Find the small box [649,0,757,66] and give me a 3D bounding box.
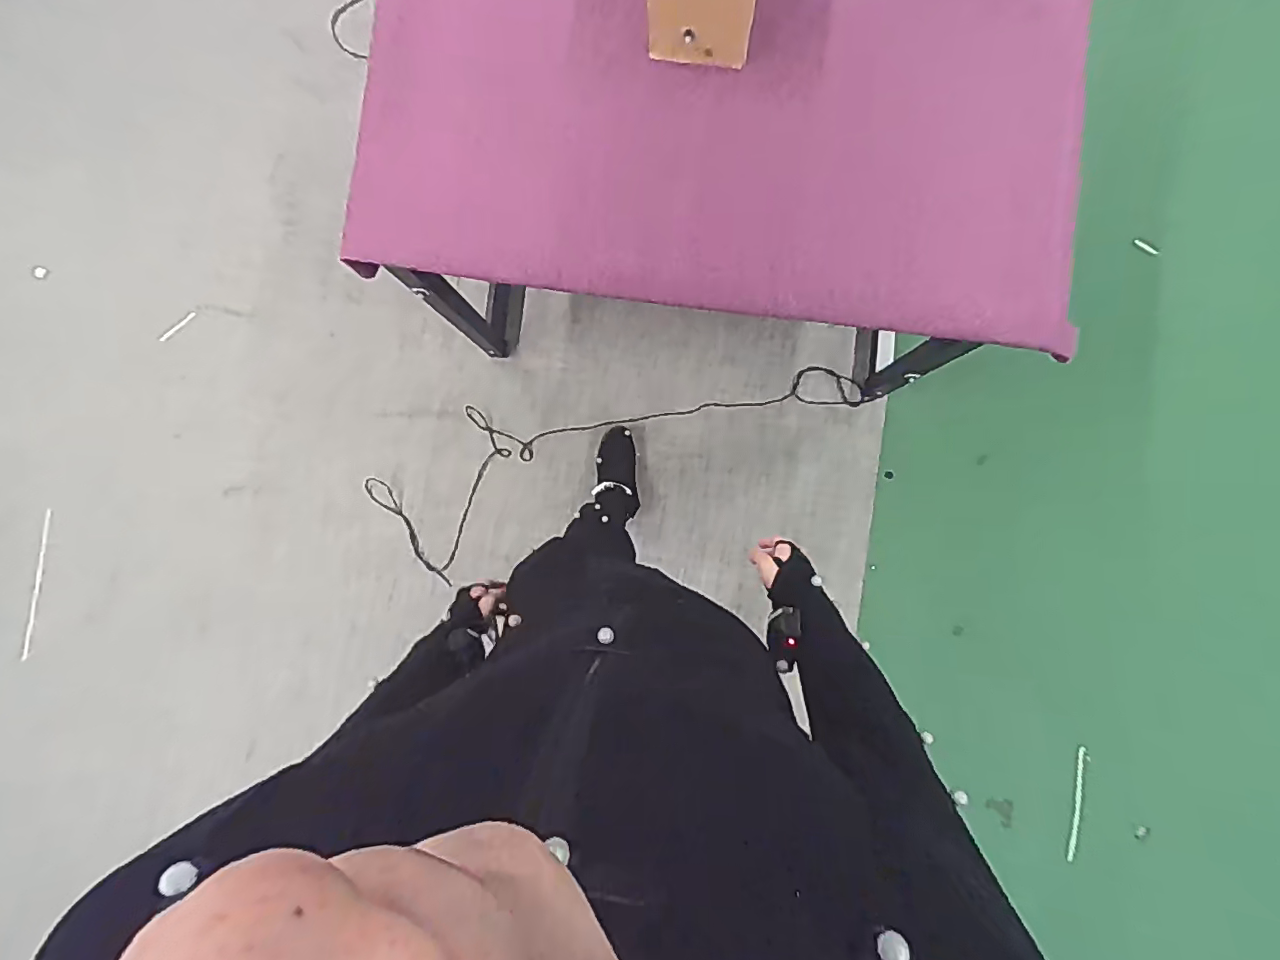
[{"bbox_3d":[0.105,-0.794,0.831,0.168,0.176,0.179,9,90,2],"label":"small box"}]
